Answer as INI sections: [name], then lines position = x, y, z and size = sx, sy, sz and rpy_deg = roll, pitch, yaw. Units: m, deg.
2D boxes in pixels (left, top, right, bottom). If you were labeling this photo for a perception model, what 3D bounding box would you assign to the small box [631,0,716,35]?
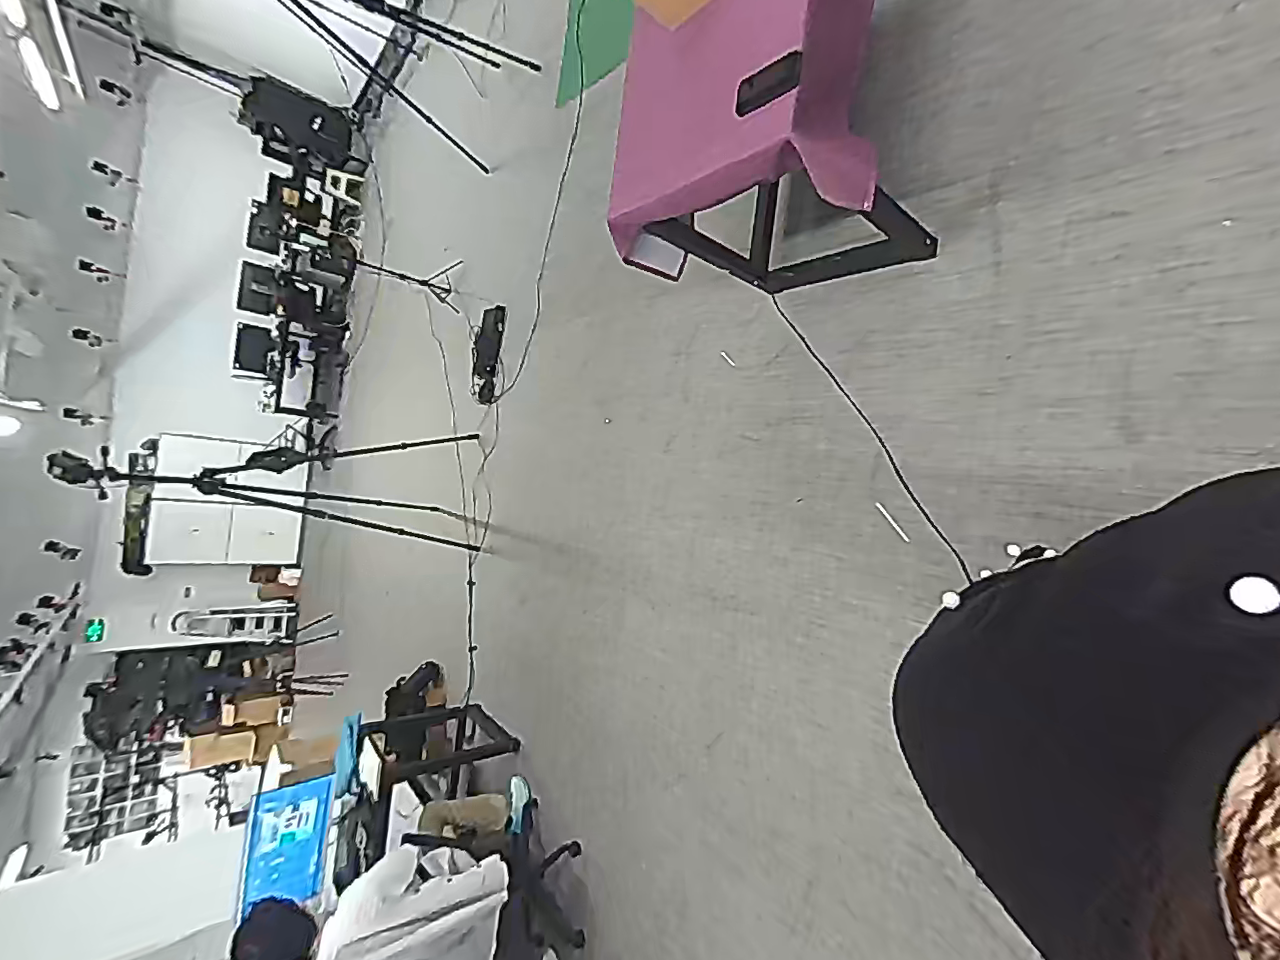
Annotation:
[small box]
position = 0.091, -1.211, 1.263
size = 0.179, 0.176, 0.168
rpy_deg = 7, 89, 50
